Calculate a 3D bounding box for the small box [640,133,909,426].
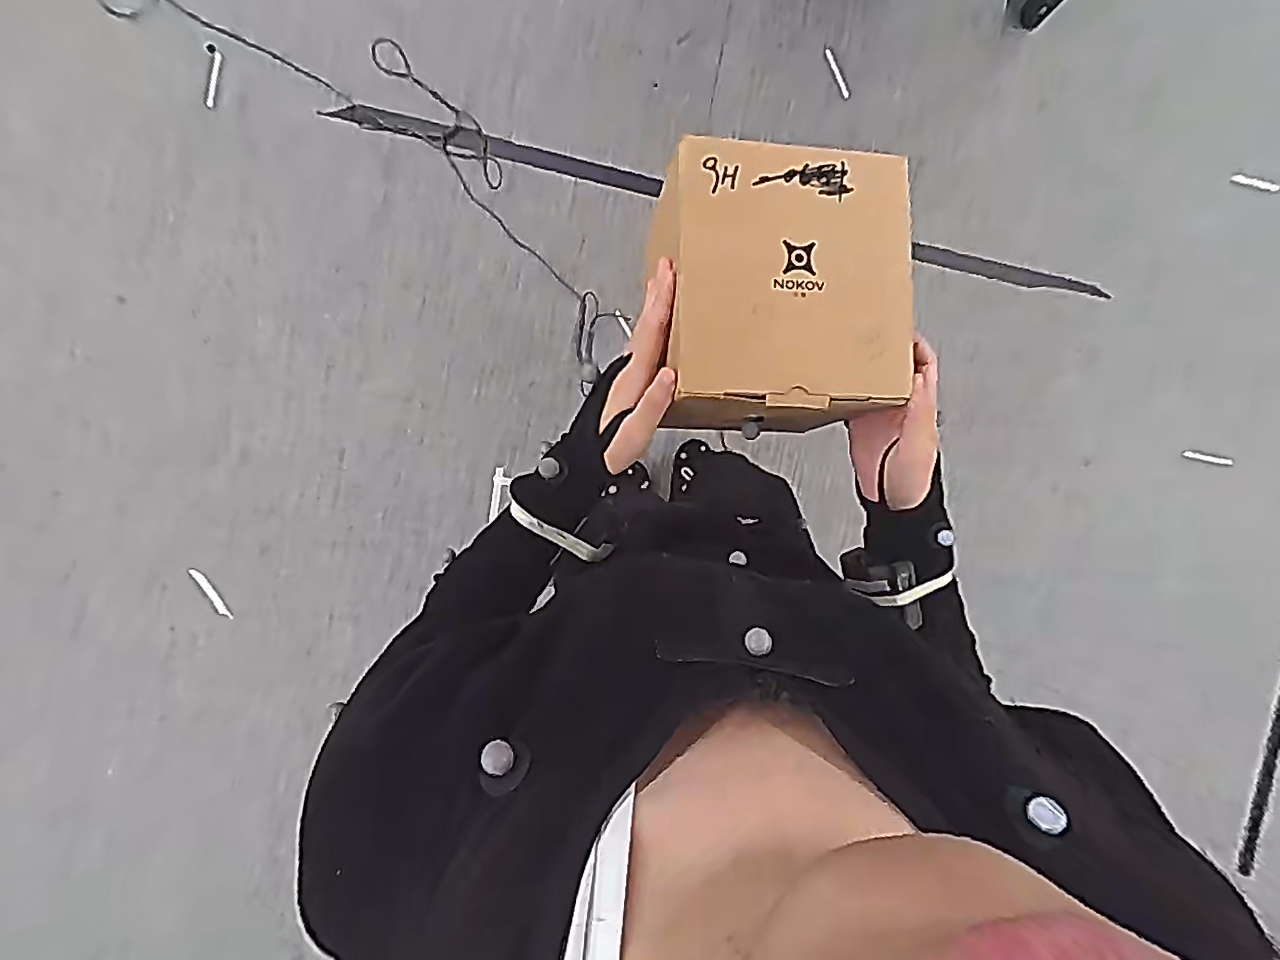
[{"bbox_3d":[0.093,-0.140,0.444,0.168,0.176,0.179,1,88,-8],"label":"small box"}]
